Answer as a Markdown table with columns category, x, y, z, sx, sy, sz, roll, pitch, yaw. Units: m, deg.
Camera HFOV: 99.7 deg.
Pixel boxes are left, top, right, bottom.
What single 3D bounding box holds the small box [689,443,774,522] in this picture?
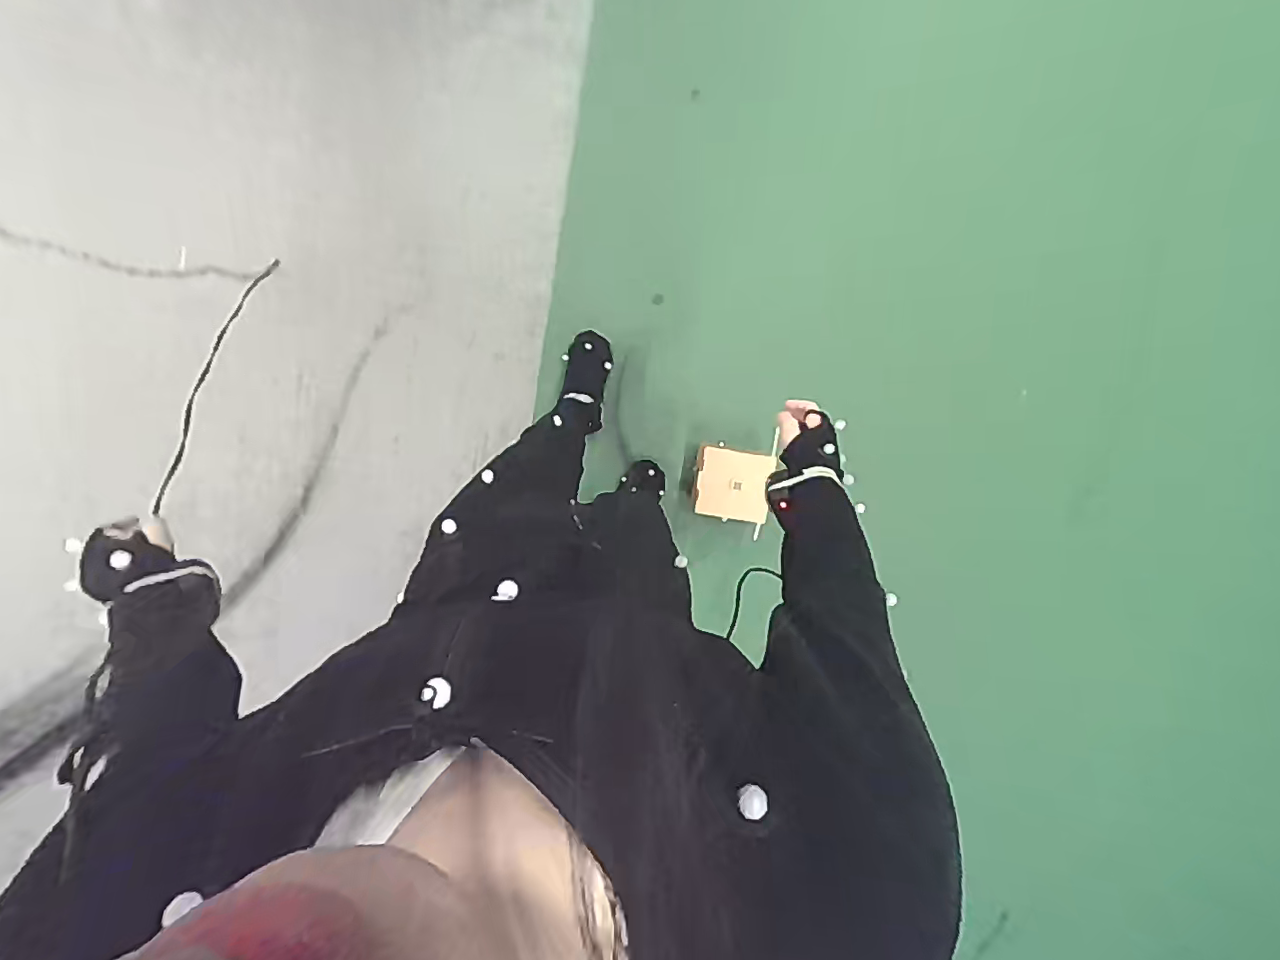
| category | x | y | z | sx | sy | sz | roll | pitch | yaw |
| --- | --- | --- | --- | --- | --- | --- | --- | --- | --- |
| small box | 0.227 | 0.000 | 1.388 | 0.179 | 0.176 | 0.168 | 9 | 98 | 1 |
